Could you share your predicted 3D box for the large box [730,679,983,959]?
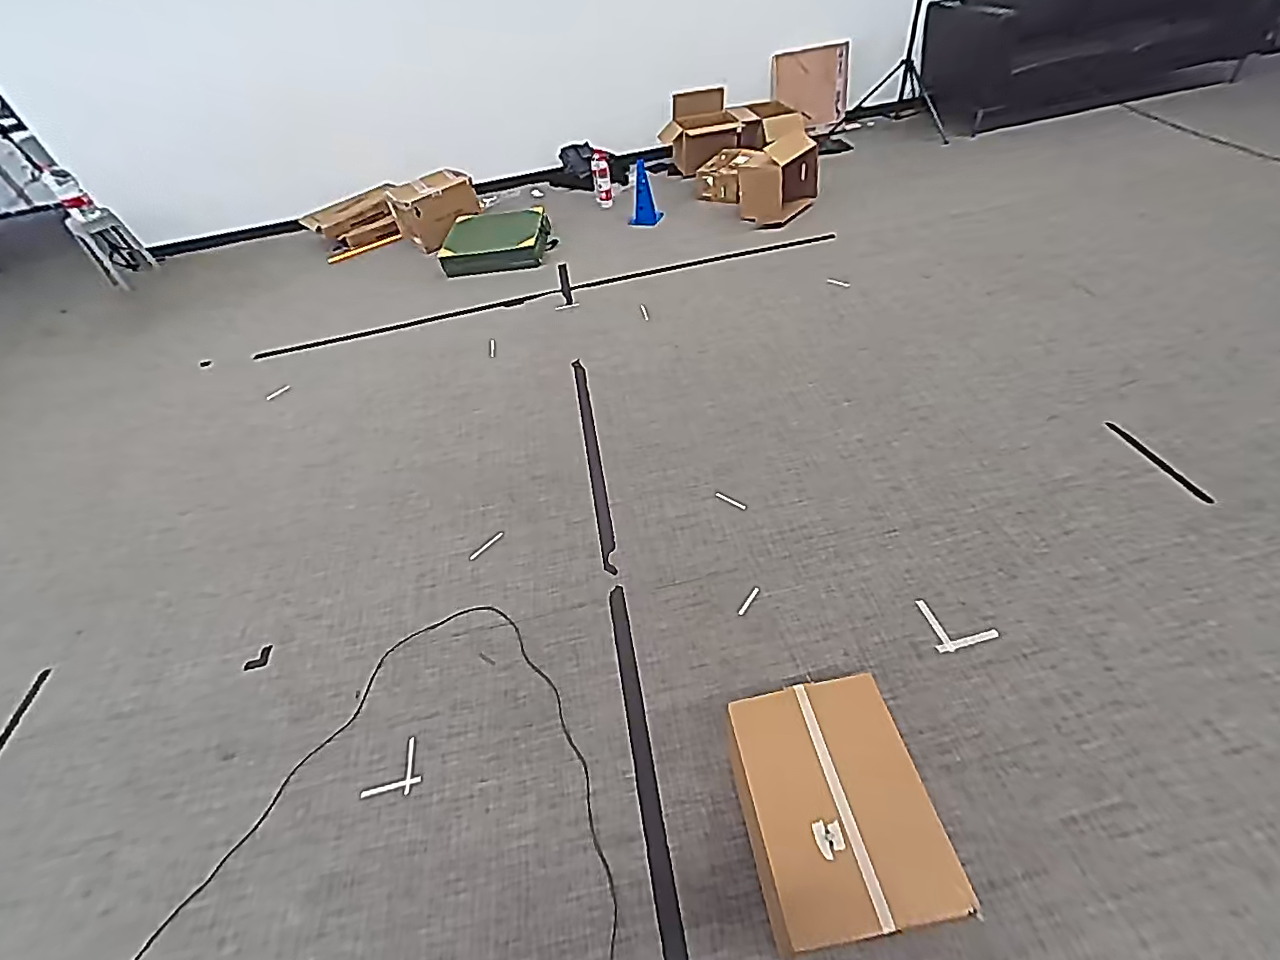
[{"bbox_3d":[0.387,0.687,1.106,0.320,0.320,0.408,-12,47,-1],"label":"large box"}]
